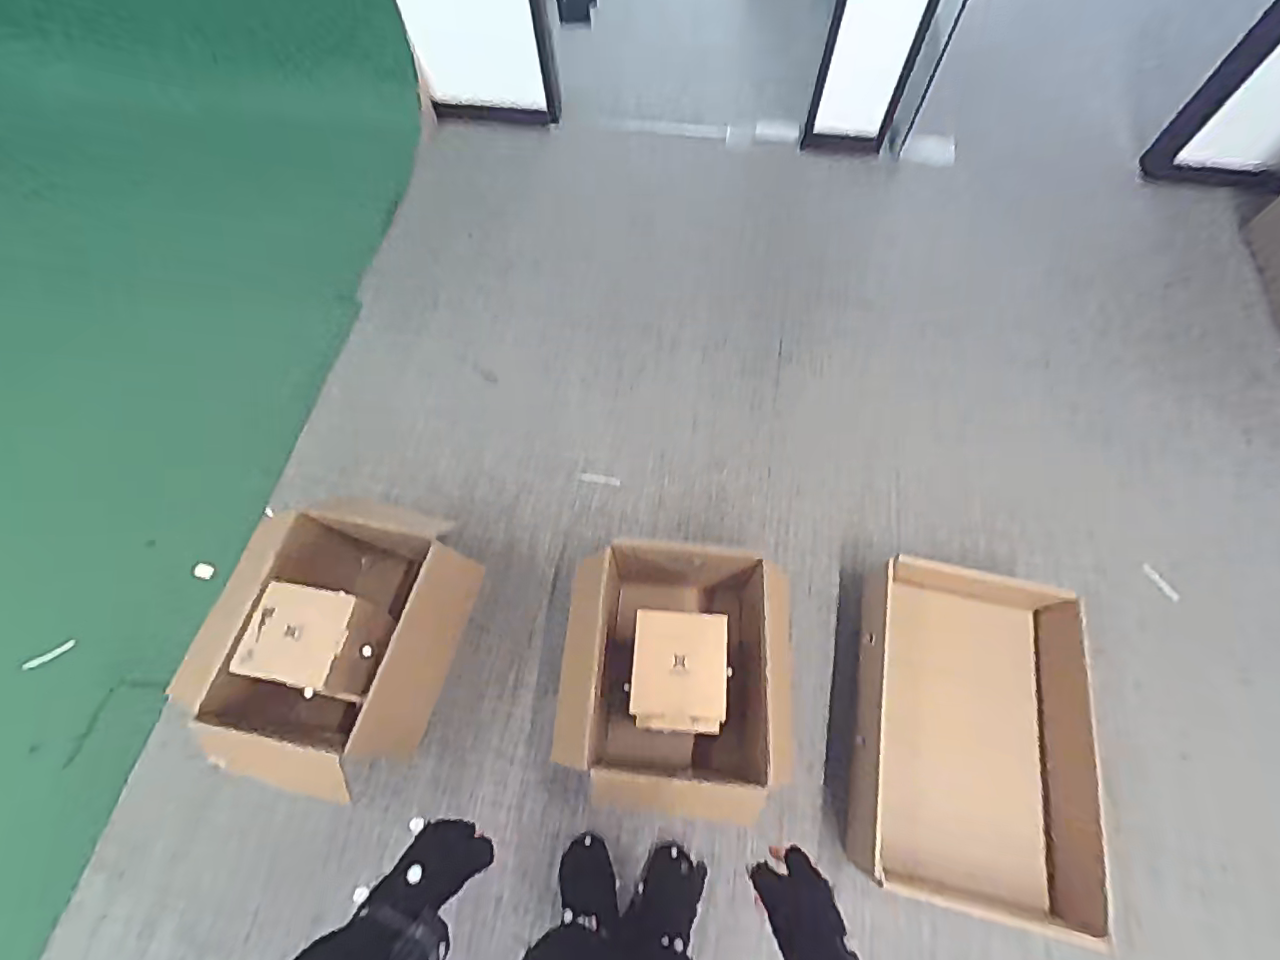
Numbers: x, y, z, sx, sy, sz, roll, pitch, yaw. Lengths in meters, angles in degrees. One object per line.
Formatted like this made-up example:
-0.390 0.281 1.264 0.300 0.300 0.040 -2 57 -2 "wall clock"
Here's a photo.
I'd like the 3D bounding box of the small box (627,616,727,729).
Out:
0.068 0.362 1.013 0.168 0.176 0.179 4 67 2 "small box"
